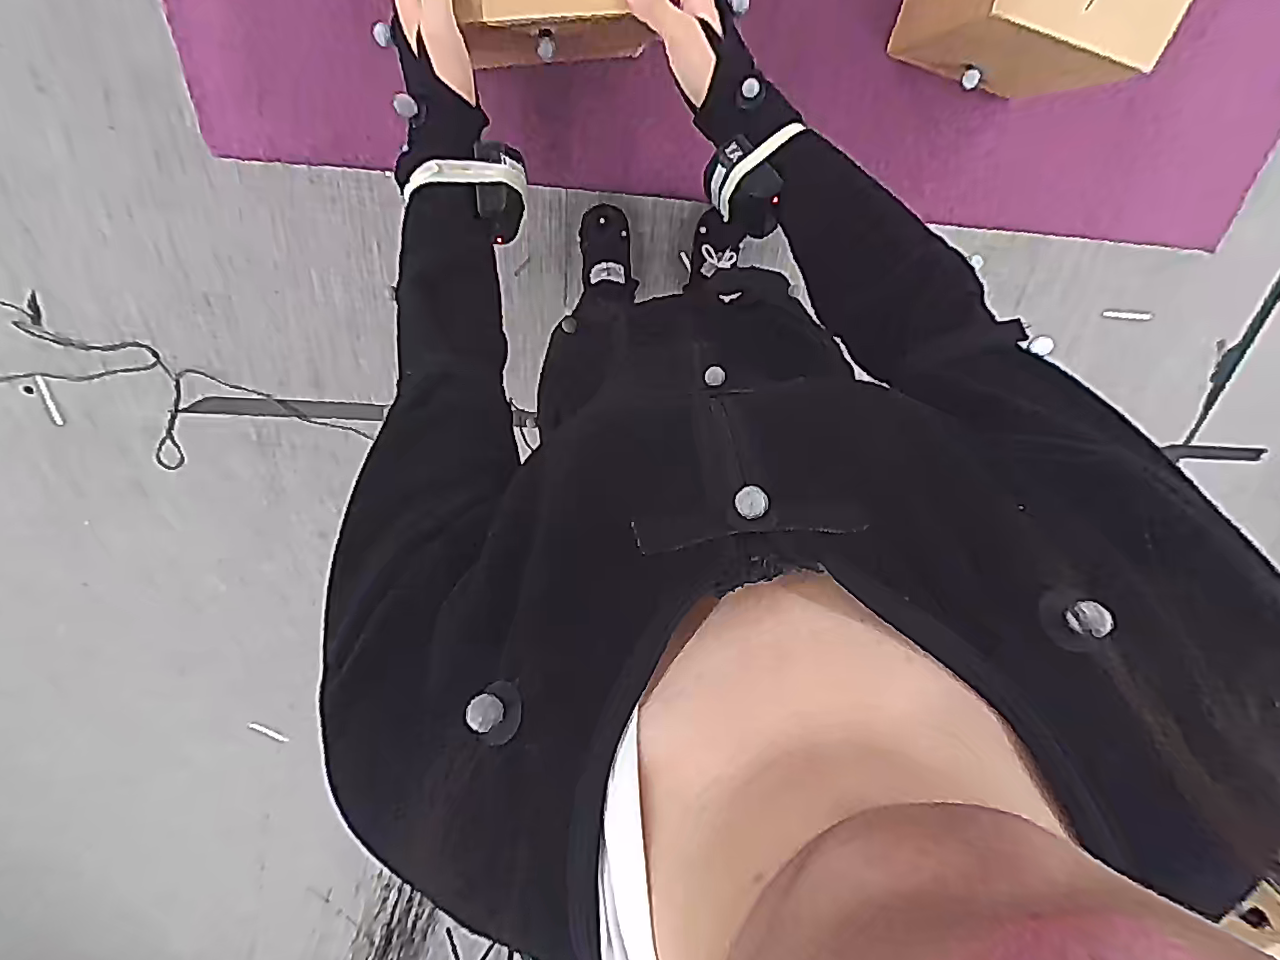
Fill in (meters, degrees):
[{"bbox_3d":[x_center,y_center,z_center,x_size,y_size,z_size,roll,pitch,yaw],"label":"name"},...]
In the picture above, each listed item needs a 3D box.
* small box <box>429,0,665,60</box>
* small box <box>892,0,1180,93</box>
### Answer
[{"bbox_3d":[-0.082,-0.455,0.432,0.179,0.176,0.168,-7,120,-3],"label":"small box"},{"bbox_3d":[0.361,-0.475,0.477,0.168,0.176,0.179,9,118,-12],"label":"small box"}]
